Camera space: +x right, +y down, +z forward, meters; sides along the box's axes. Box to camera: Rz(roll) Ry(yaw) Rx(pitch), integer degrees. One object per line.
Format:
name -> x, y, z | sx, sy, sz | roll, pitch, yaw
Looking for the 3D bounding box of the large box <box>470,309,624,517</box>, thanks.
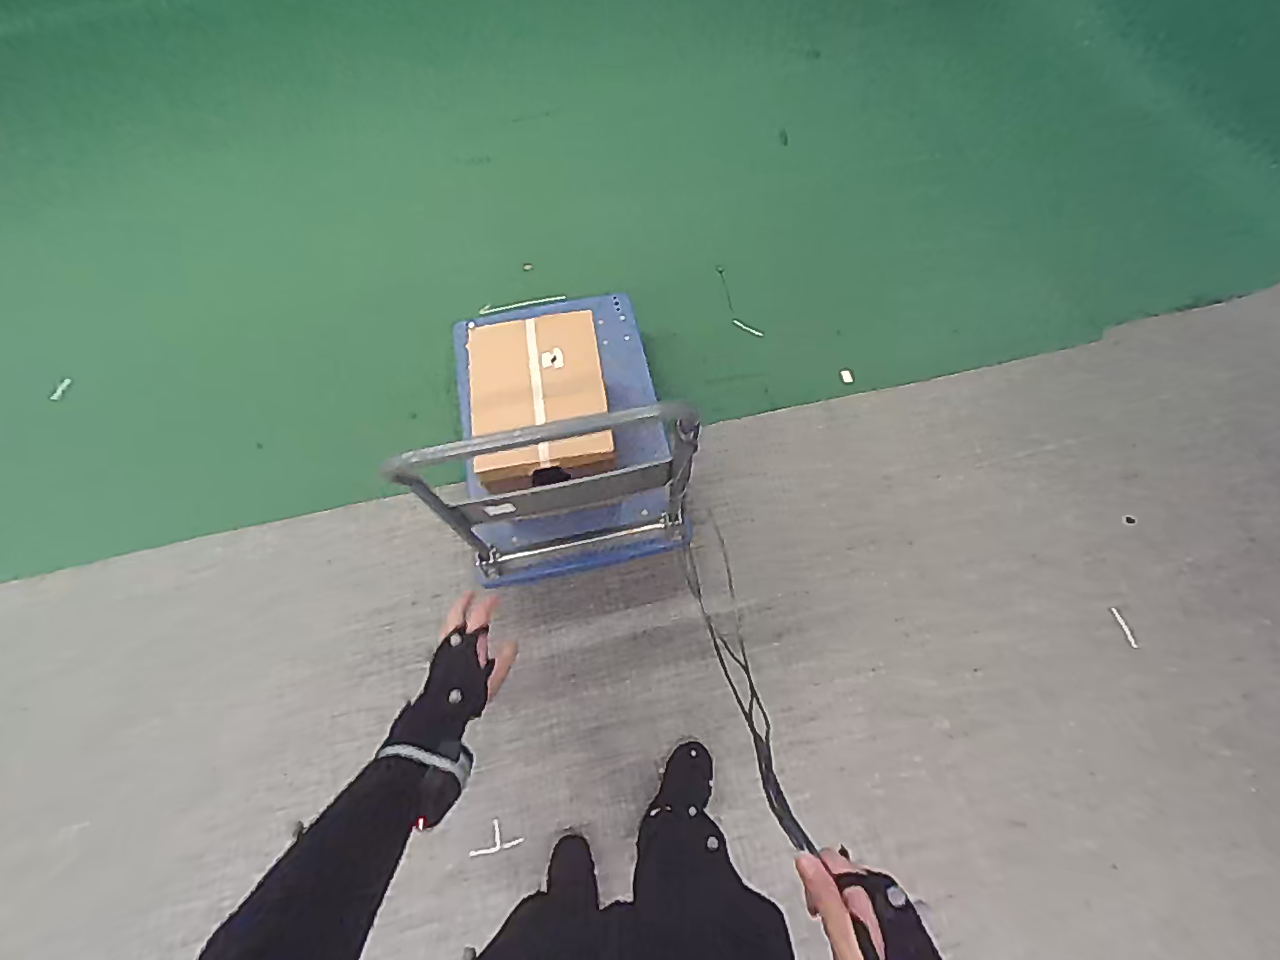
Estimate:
large box -> -0.230, -0.162, 1.389 | 0.320, 0.320, 0.408 | -9, 66, -3
